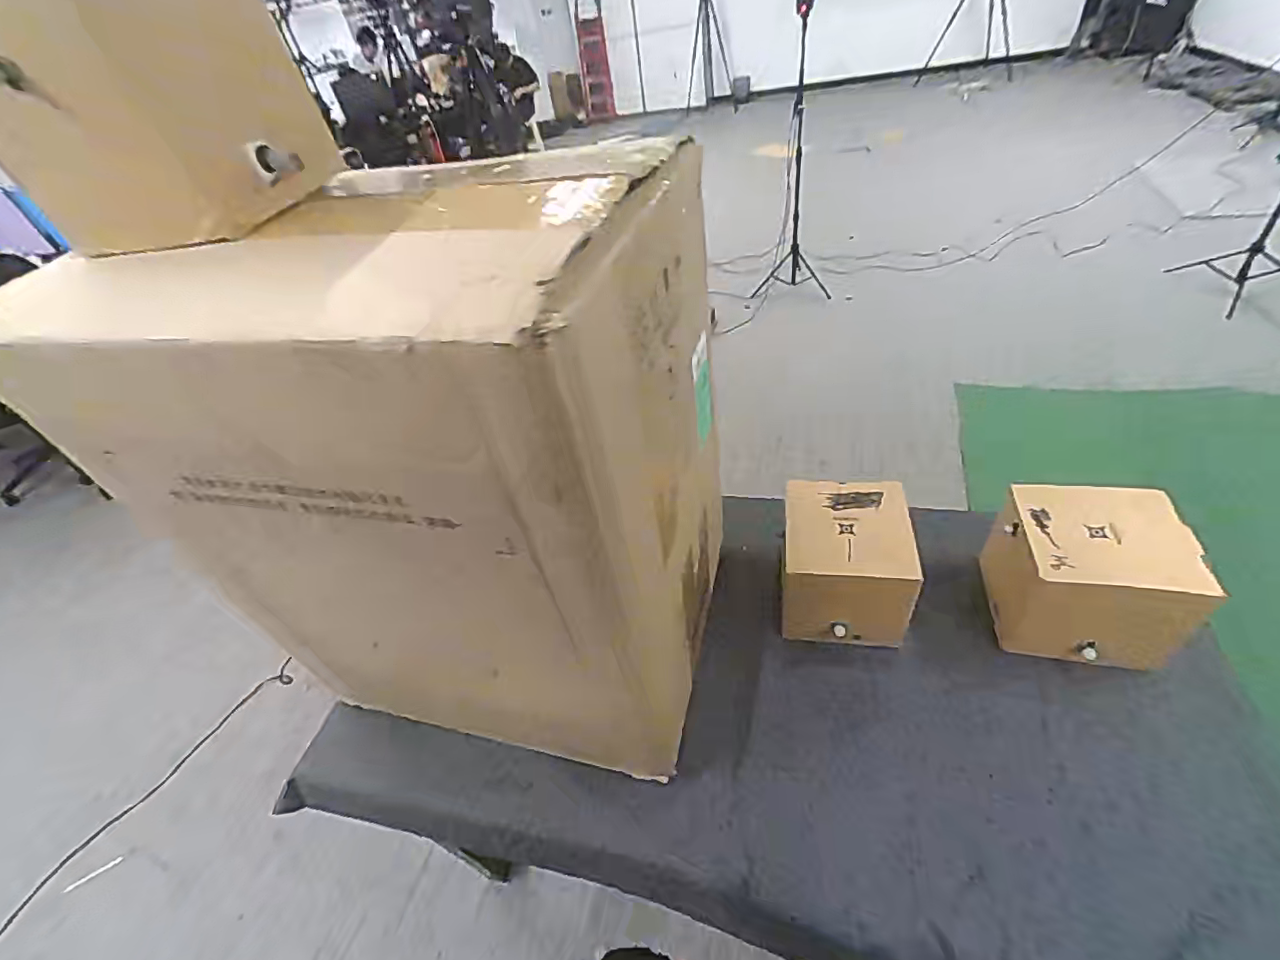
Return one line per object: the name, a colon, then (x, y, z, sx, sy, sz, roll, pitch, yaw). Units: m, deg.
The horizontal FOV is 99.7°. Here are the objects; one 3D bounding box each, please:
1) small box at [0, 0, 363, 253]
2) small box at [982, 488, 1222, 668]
small box: (-0.383, -0.307, 0.456, 0.179, 0.176, 0.168, 2, 48, 13)
small box: (0.594, 0.132, 0.727, 0.179, 0.176, 0.168, 4, 44, 17)
